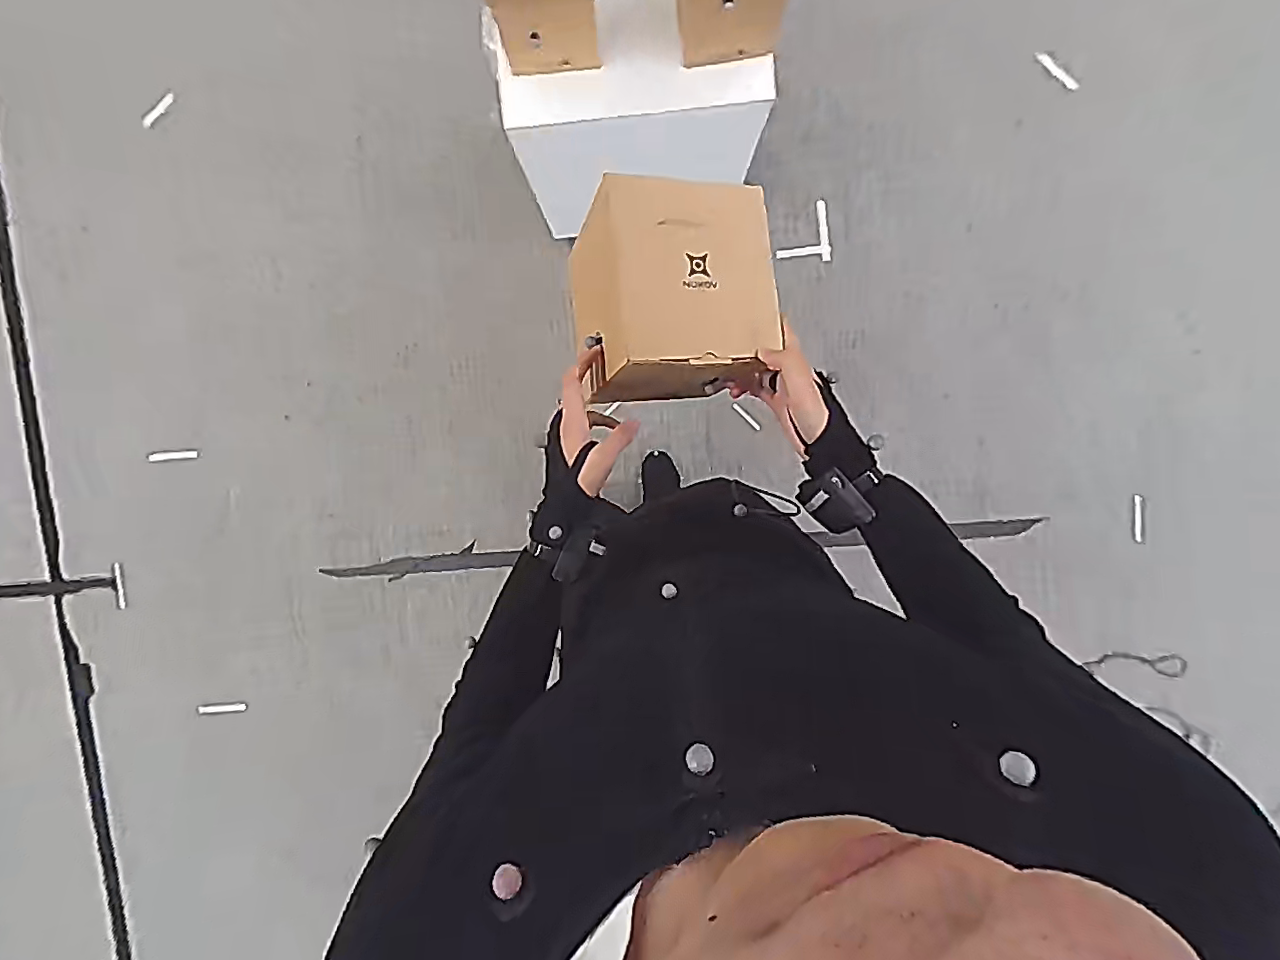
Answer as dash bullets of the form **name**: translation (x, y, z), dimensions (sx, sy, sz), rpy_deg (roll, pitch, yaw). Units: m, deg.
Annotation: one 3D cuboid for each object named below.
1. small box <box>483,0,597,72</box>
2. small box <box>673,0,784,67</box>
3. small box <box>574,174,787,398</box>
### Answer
- **small box**: translation (-0.167, -0.826, 0.909), dimensions (0.168, 0.176, 0.179), rpy_deg (-5, 94, 1)
- **small box**: translation (0.141, -0.844, 0.902), dimensions (0.168, 0.176, 0.179), rpy_deg (-8, 94, 3)
- **small box**: translation (0.033, -0.188, 0.580), dimensions (0.168, 0.176, 0.179), rpy_deg (-6, 87, -20)
